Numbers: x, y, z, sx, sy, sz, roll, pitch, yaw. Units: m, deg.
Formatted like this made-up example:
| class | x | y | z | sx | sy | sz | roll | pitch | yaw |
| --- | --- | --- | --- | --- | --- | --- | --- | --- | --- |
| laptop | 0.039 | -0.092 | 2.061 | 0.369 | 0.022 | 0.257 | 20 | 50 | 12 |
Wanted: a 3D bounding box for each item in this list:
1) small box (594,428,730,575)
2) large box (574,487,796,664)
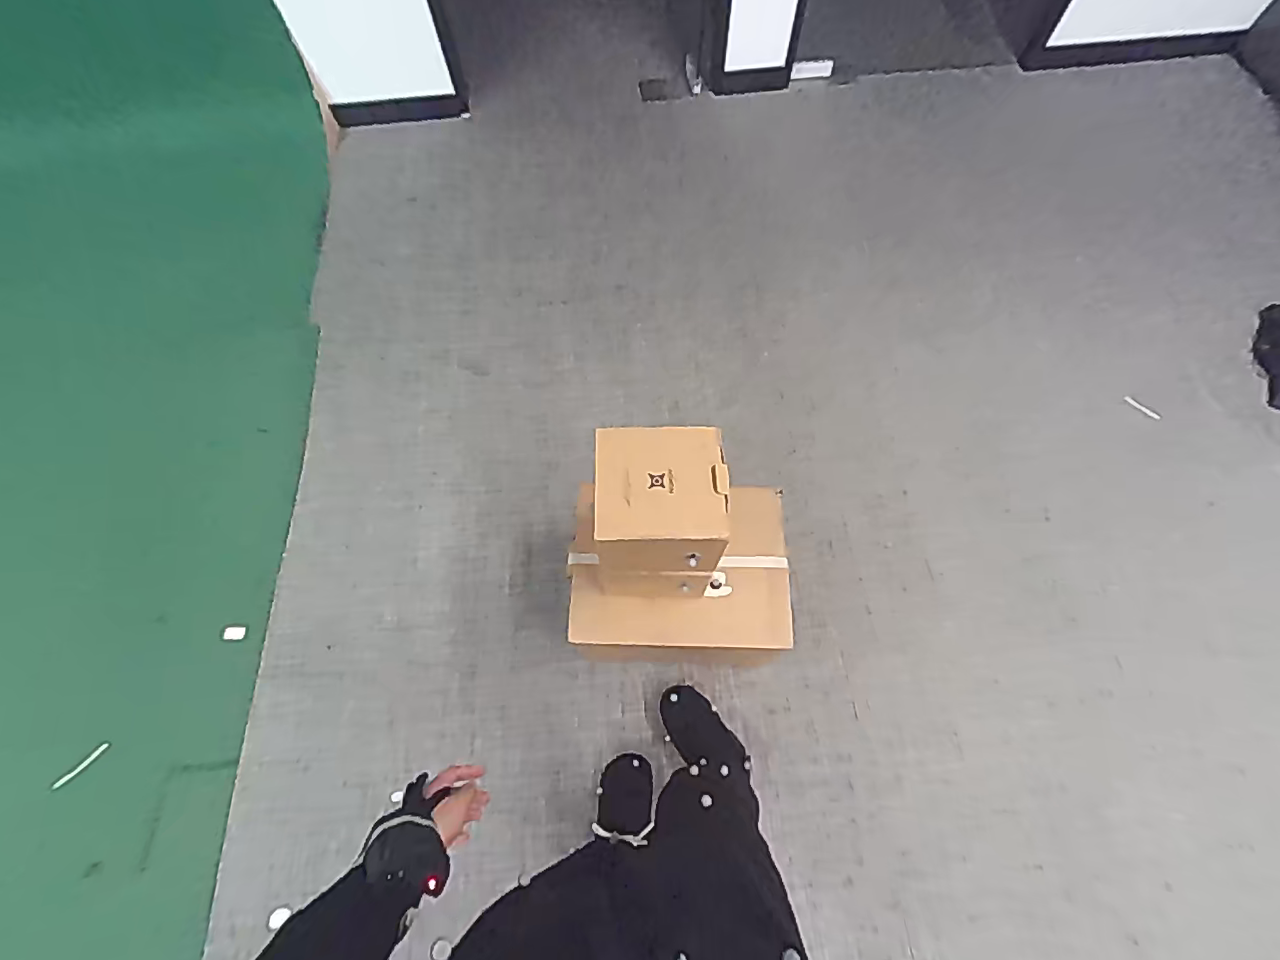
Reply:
| class | x | y | z | sx | sy | sz | roll | pitch | yaw |
| --- | --- | --- | --- | --- | --- | --- | --- | --- | --- |
| small box | 0.027 | 0.037 | 0.789 | 0.179 | 0.176 | 0.168 | -2 | 65 | 1 |
| large box | 0.080 | 0.215 | 1.155 | 0.408 | 0.320 | 0.320 | 1 | 67 | 1 |
